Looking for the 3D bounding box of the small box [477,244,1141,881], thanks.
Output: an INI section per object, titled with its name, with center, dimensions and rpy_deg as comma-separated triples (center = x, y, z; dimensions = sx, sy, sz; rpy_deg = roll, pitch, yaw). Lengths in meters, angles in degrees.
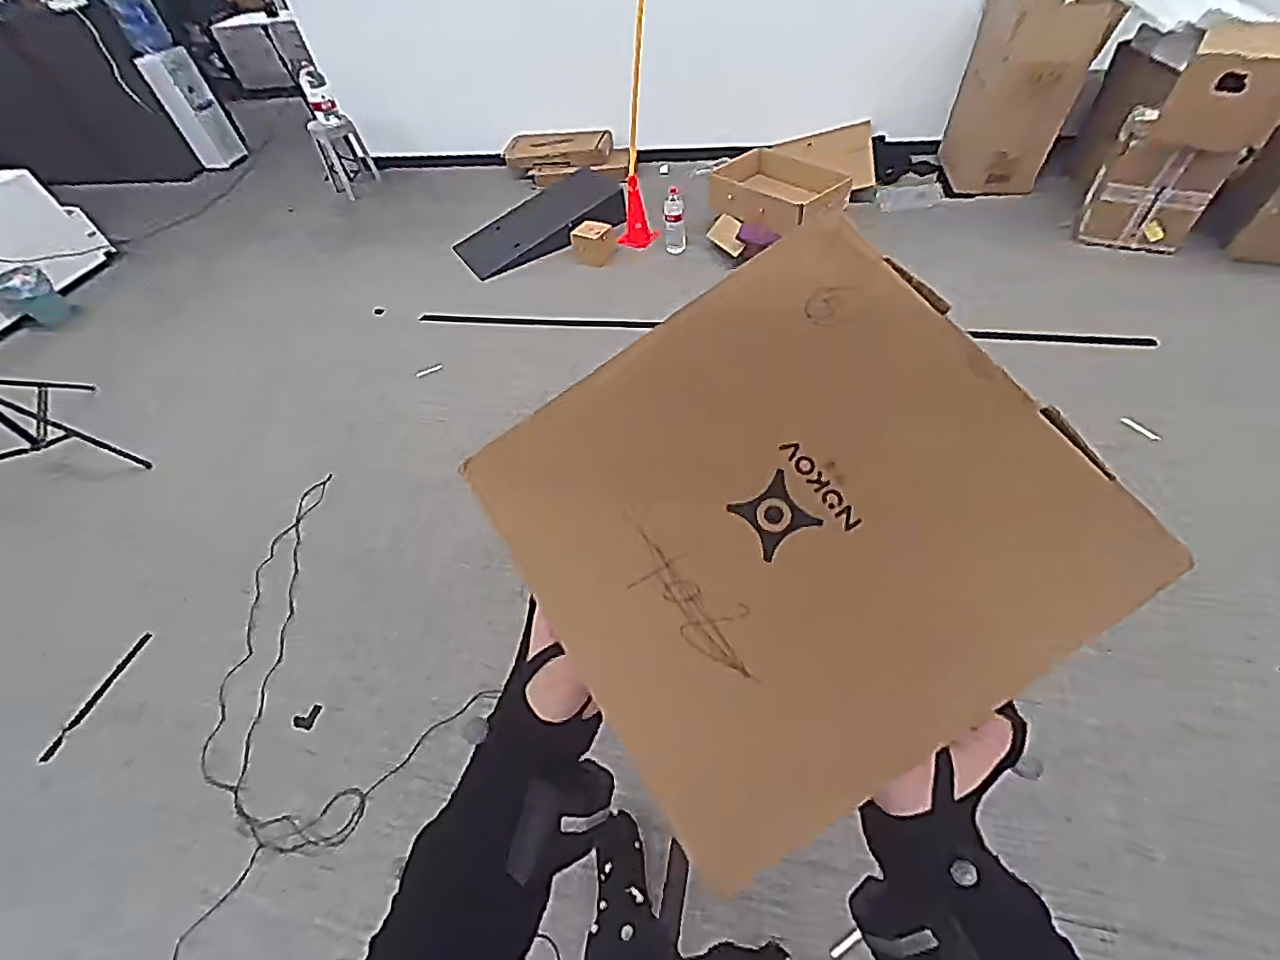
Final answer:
[small box]
center = 0.060, 0.034, 0.270
dimensions = 0.179, 0.176, 0.168
rpy_deg = -36, 73, 0
